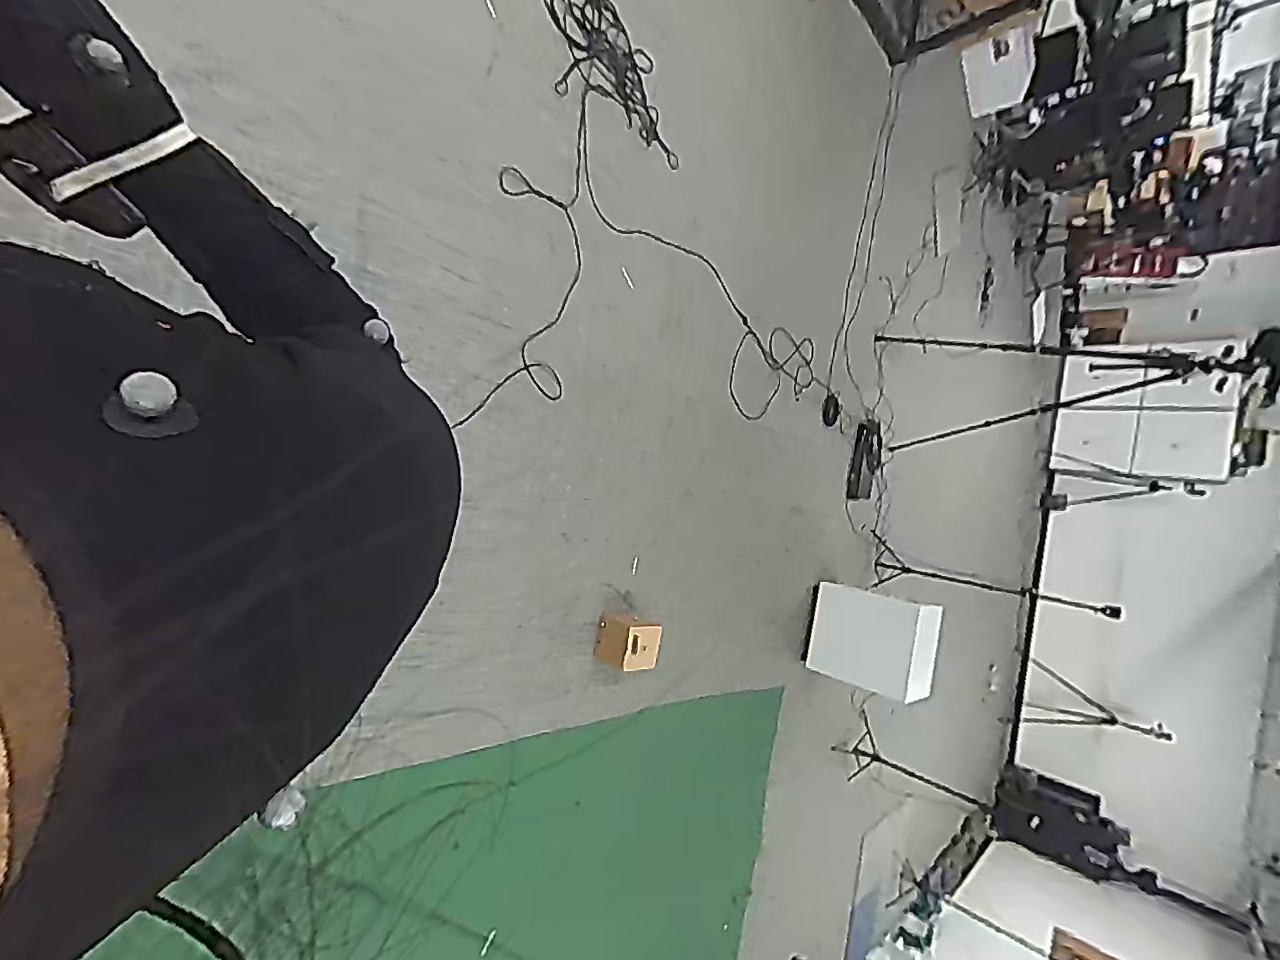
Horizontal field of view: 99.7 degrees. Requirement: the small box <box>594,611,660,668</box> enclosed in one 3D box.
[{"bbox_3d":[-0.052,0.600,2.050,0.179,0.176,0.168,14,86,-45],"label":"small box"}]
